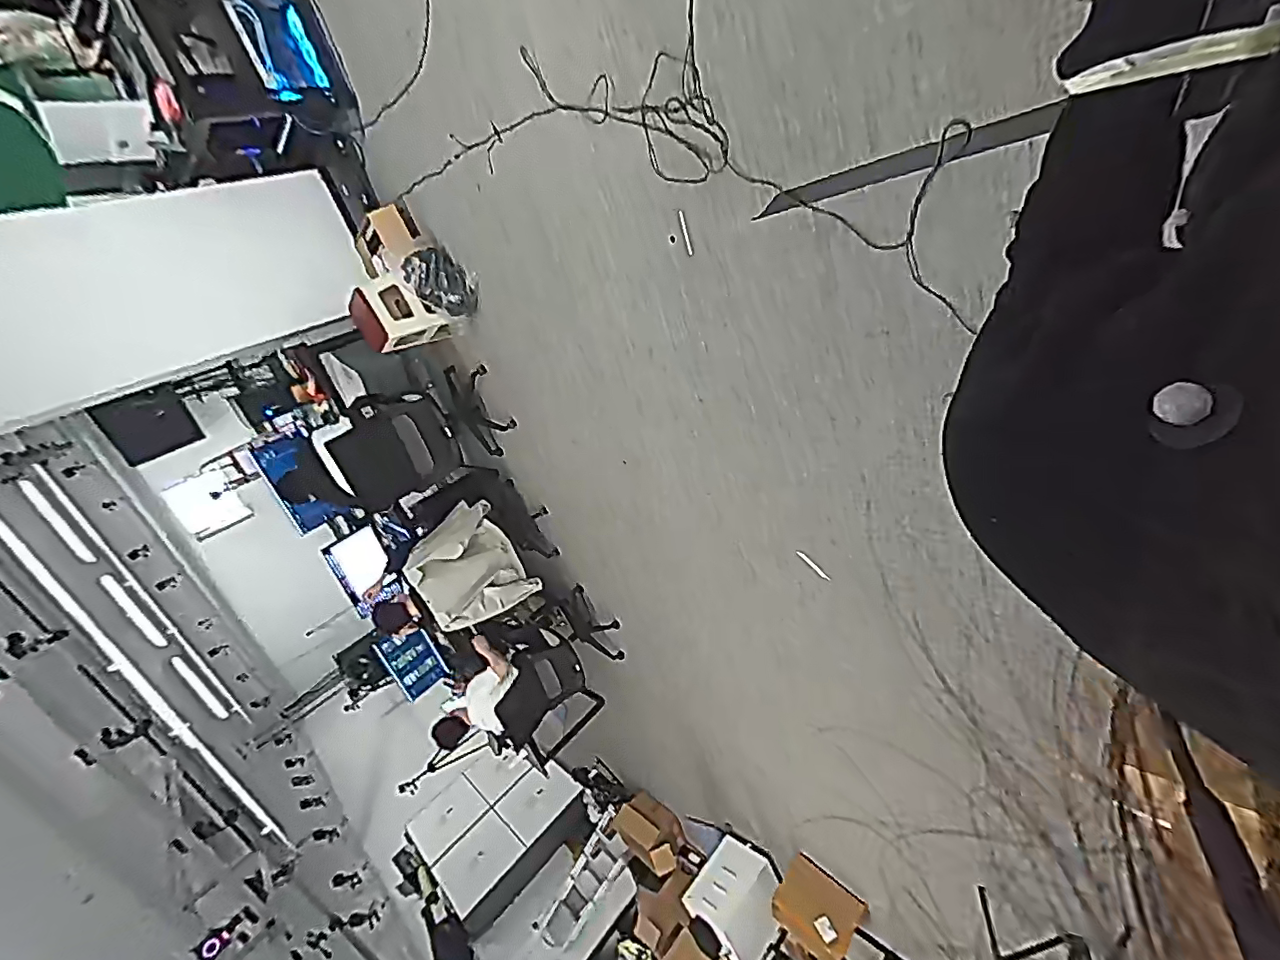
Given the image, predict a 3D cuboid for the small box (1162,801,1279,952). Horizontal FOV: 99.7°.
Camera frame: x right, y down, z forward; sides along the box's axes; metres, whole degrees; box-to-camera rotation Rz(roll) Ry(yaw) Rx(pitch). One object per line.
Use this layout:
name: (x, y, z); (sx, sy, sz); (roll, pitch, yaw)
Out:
small box: (1.287, 0.858, 1.190); (0.179, 0.176, 0.168); (8, 124, 48)

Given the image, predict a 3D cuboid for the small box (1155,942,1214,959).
small box: (1.067, 1.019, 1.006); (0.179, 0.176, 0.168); (12, 128, 45)
